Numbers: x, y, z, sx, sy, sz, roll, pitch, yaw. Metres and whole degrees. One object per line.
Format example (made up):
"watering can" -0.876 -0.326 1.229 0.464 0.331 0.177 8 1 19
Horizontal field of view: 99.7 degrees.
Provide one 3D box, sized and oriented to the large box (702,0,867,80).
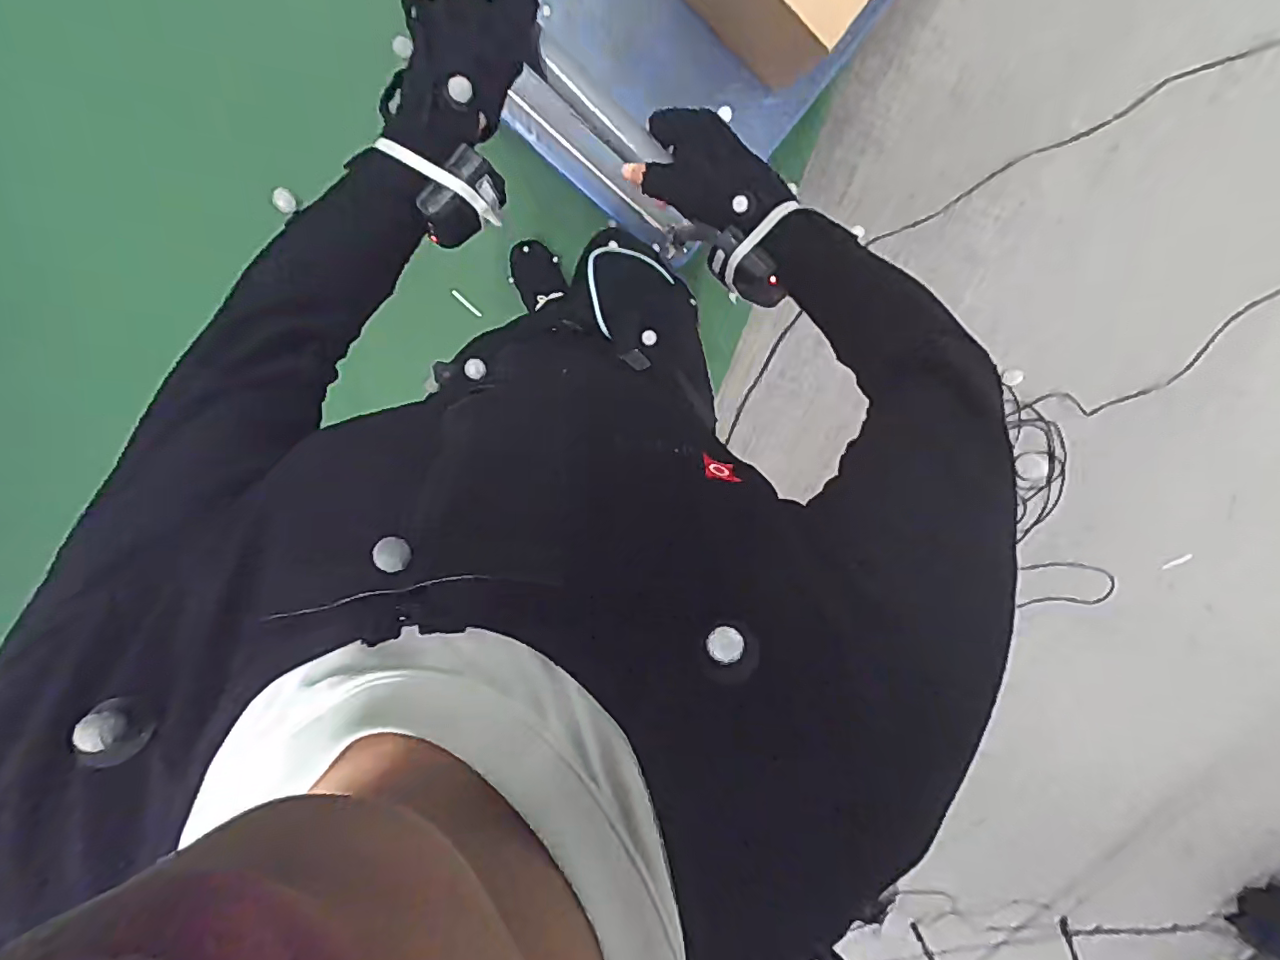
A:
"large box" 0.204 -0.887 0.774 0.408 0.320 0.320 35 111 -17
